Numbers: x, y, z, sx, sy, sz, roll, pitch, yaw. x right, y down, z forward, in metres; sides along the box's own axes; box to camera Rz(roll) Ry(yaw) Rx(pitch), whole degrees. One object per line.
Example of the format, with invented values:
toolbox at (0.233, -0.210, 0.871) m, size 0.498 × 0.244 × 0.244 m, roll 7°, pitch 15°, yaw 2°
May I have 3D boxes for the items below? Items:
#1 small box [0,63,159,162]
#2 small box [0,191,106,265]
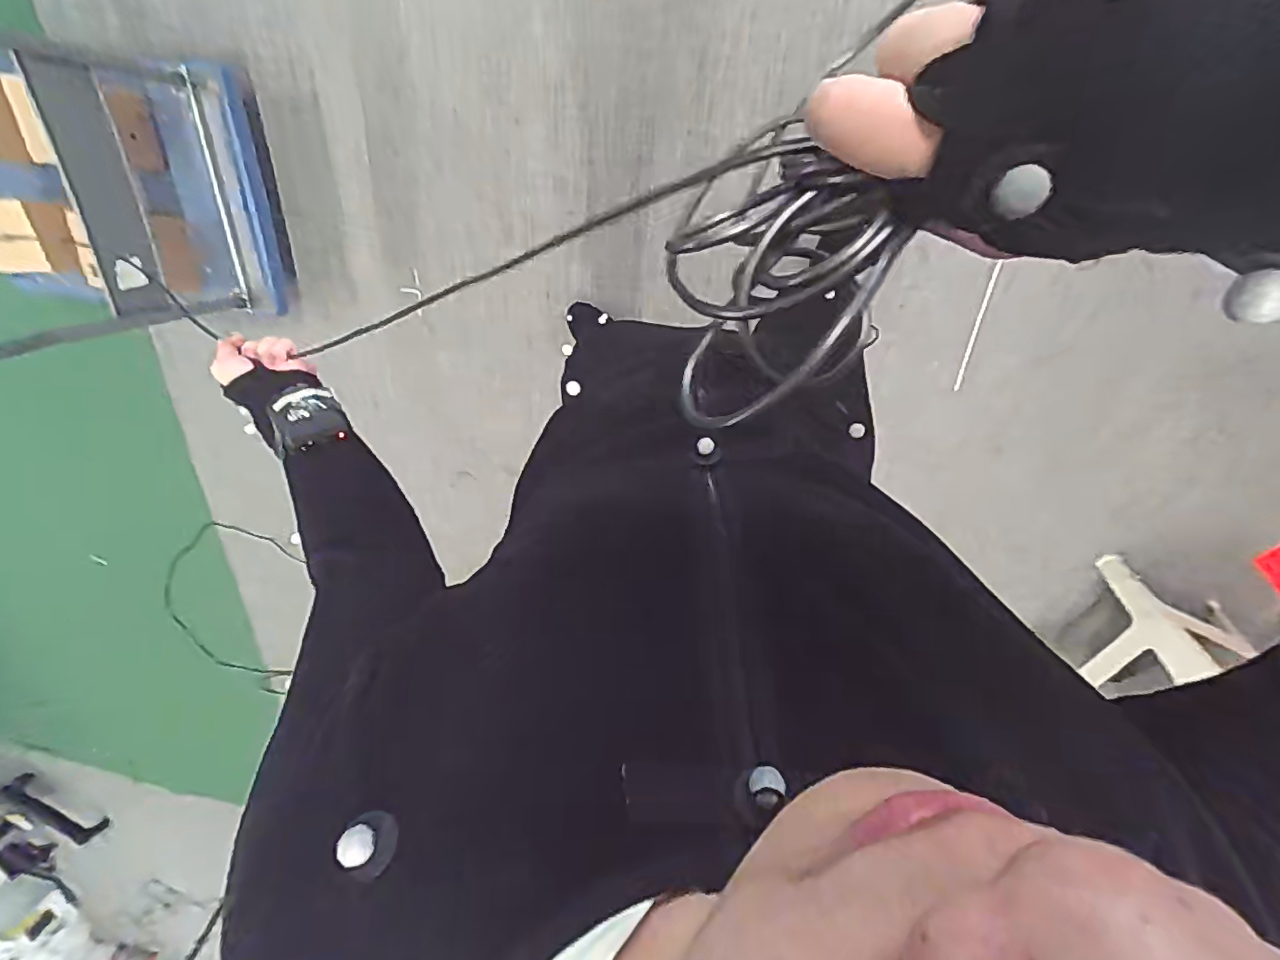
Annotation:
small box at (-1.288, -0.843, 1.254) m, size 0.179 × 0.176 × 0.168 m, roll 8°, pitch 118°, yaw 5°
small box at (-1.553, -0.656, 1.400) m, size 0.179 × 0.176 × 0.168 m, roll 5°, pitch 117°, yaw 8°
